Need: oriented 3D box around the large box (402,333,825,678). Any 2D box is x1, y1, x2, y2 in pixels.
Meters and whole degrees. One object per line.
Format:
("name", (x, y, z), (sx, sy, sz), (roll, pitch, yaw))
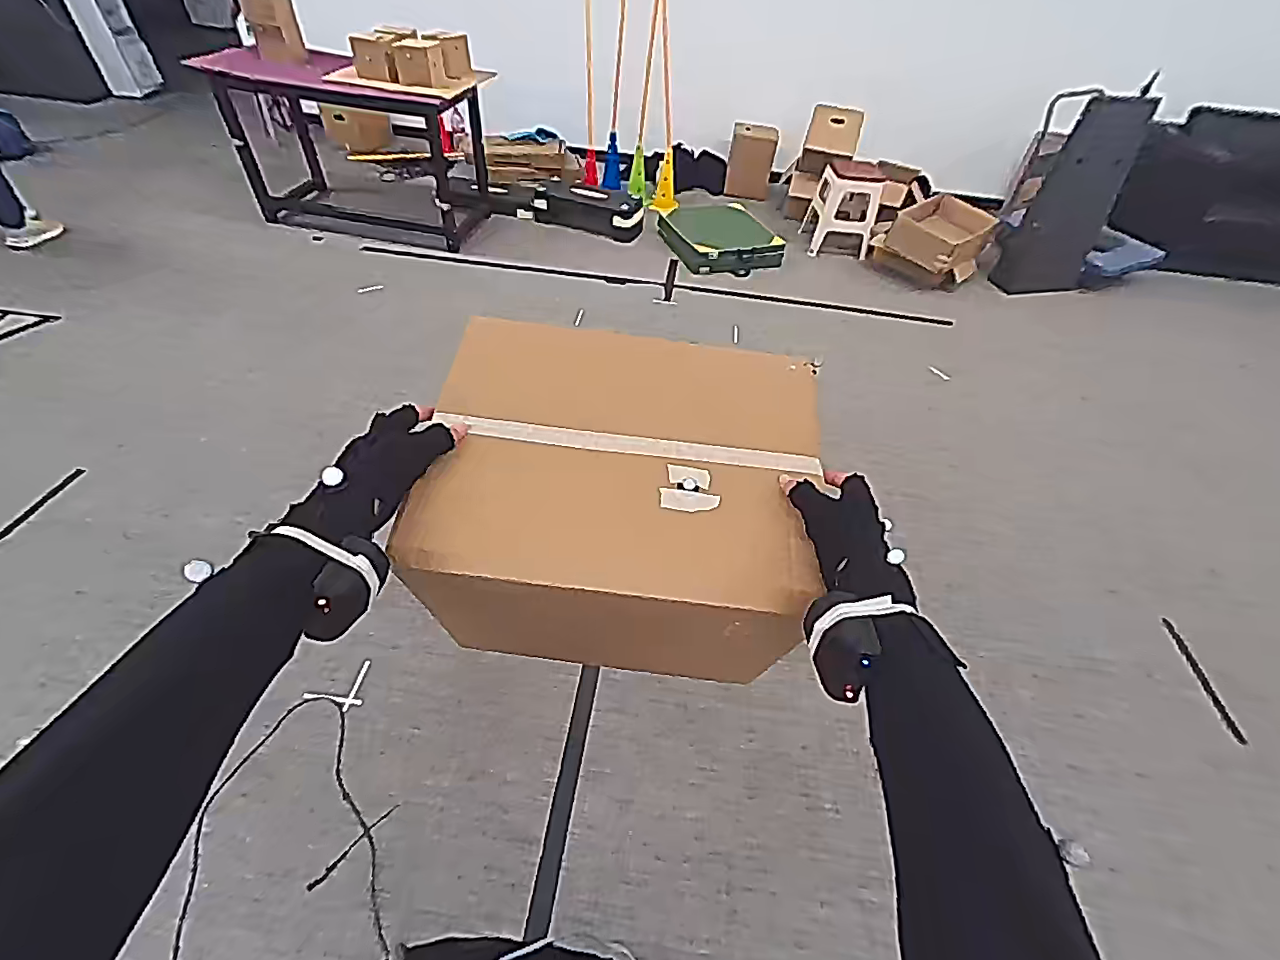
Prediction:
("large box", (-0.023, 0.050, 0.700), (0.408, 0.320, 0.320), (7, 60, -1))
